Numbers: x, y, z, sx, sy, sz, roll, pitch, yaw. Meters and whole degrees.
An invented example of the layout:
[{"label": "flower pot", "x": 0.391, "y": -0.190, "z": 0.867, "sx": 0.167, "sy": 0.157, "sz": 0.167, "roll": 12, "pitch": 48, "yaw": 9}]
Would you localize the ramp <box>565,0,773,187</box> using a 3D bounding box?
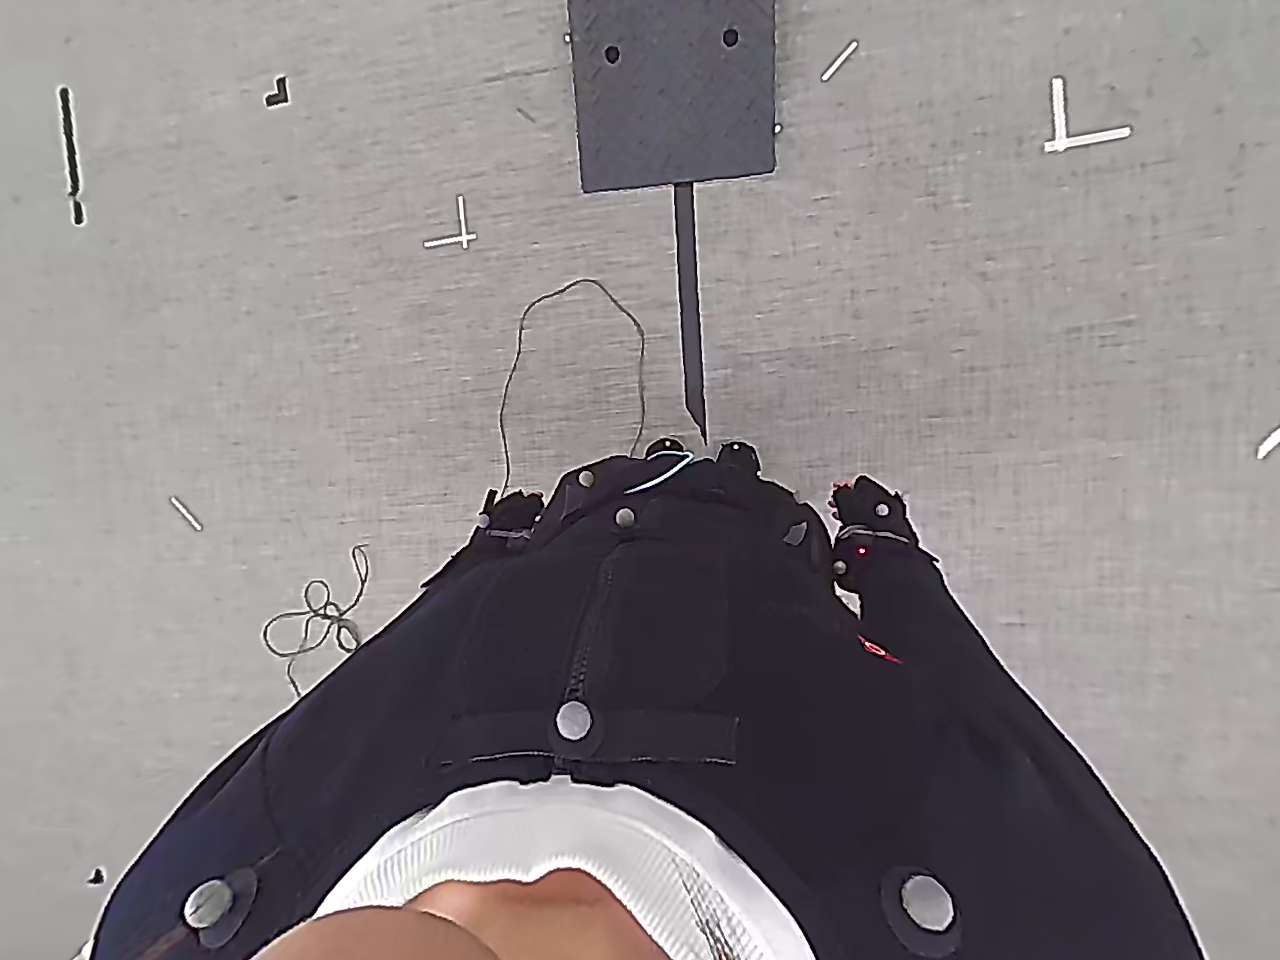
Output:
[{"label": "ramp", "x": 0.056, "y": -1.246, "z": 1.241, "sx": 0.509, "sy": 0.206, "sz": 0.991, "roll": -3, "pitch": 95, "yaw": 8}]
